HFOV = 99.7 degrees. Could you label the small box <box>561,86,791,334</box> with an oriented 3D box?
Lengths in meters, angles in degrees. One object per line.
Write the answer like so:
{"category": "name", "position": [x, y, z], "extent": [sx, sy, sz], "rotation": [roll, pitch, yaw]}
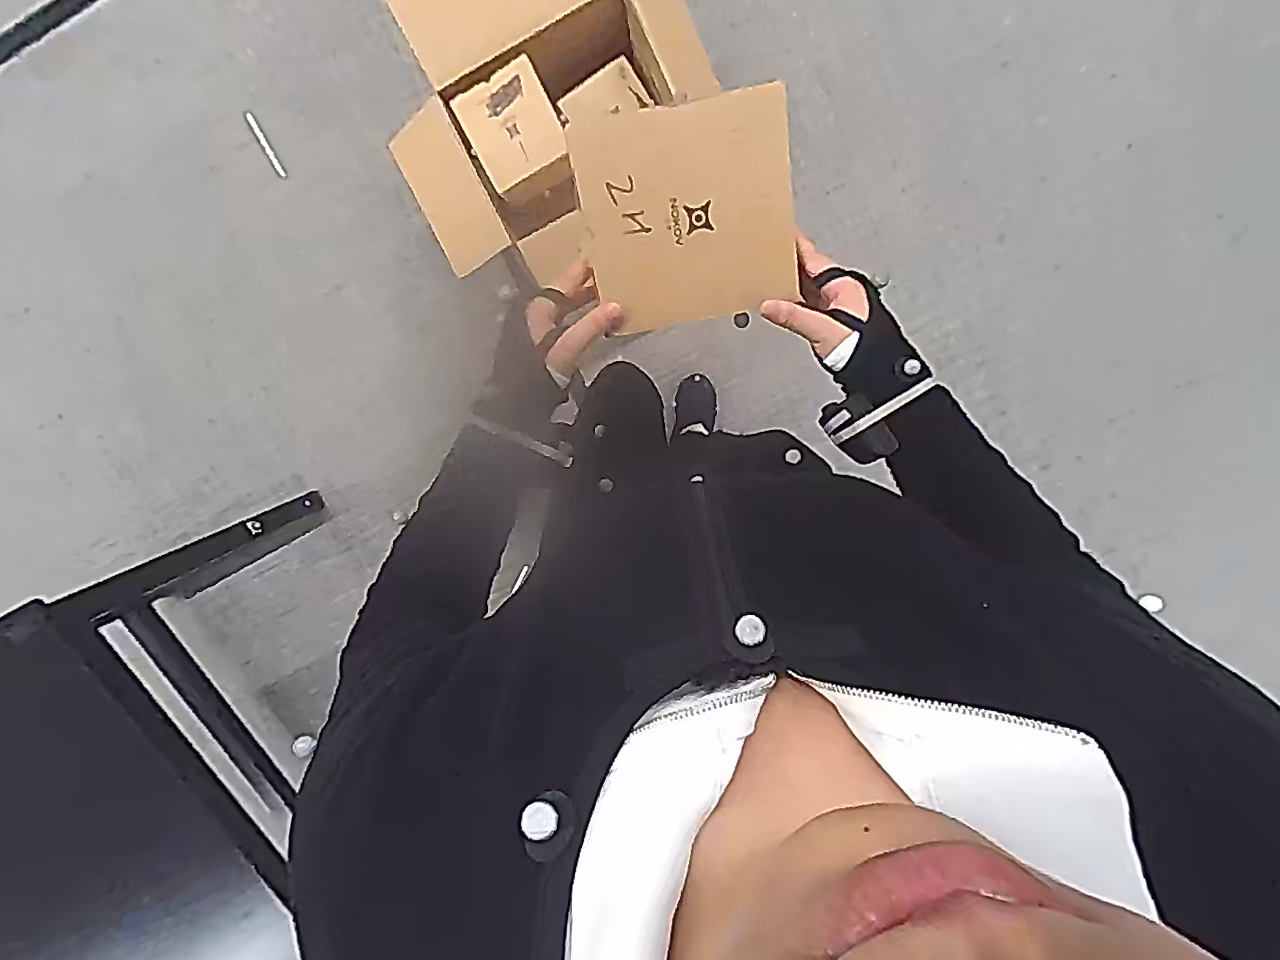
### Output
{"category": "small box", "position": [0.033, -0.249, 0.525], "extent": [0.179, 0.176, 0.168], "rotation": [-10, 112, 4]}
